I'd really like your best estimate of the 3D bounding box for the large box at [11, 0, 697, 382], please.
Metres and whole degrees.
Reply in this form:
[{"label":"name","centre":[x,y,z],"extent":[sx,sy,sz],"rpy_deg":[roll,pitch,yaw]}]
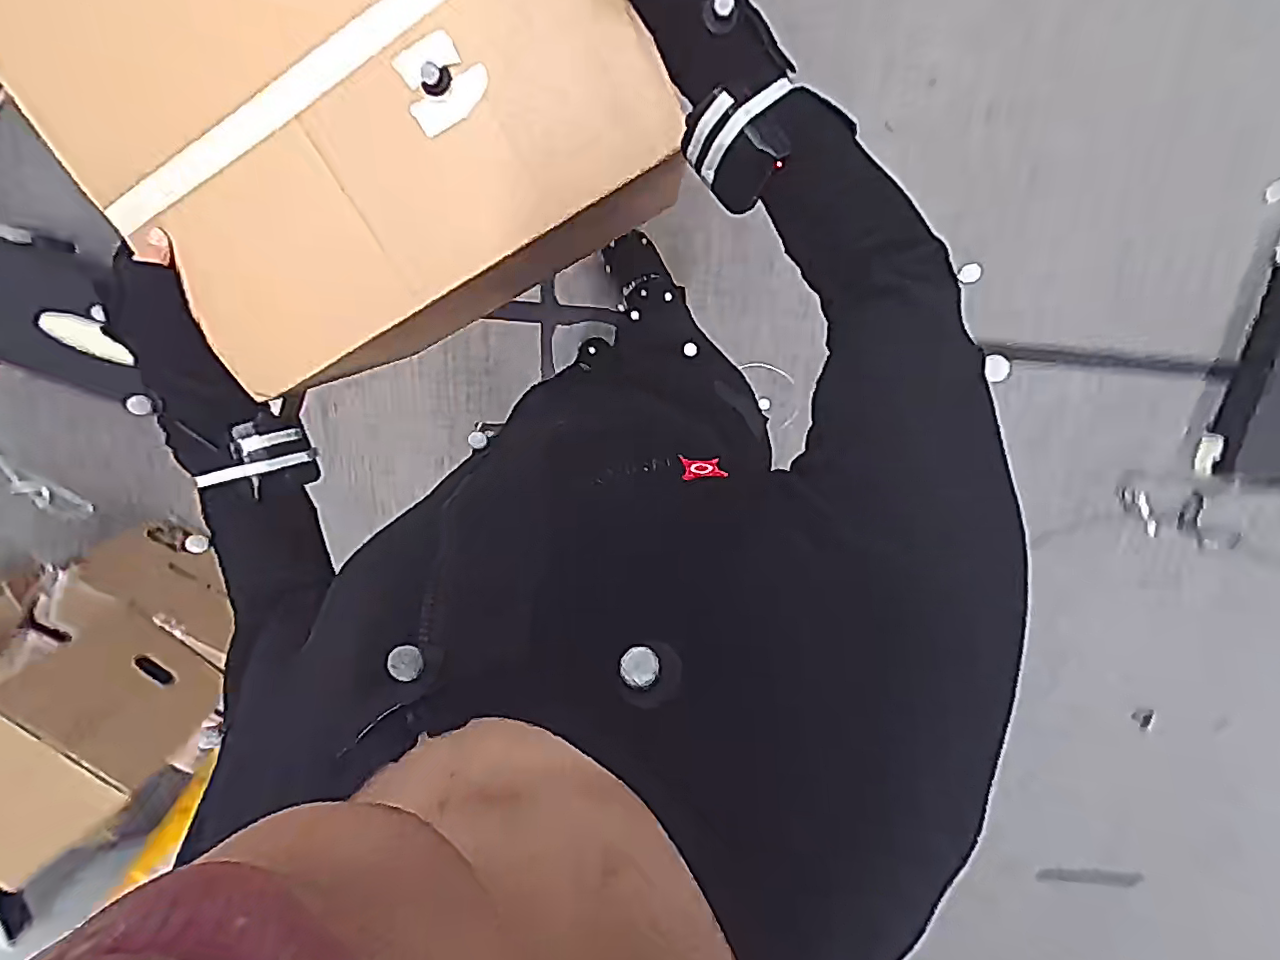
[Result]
[{"label":"large box","centre":[-0.197,-0.342,0.525],"extent":[0.408,0.320,0.320],"rpy_deg":[-26,108,10]}]
